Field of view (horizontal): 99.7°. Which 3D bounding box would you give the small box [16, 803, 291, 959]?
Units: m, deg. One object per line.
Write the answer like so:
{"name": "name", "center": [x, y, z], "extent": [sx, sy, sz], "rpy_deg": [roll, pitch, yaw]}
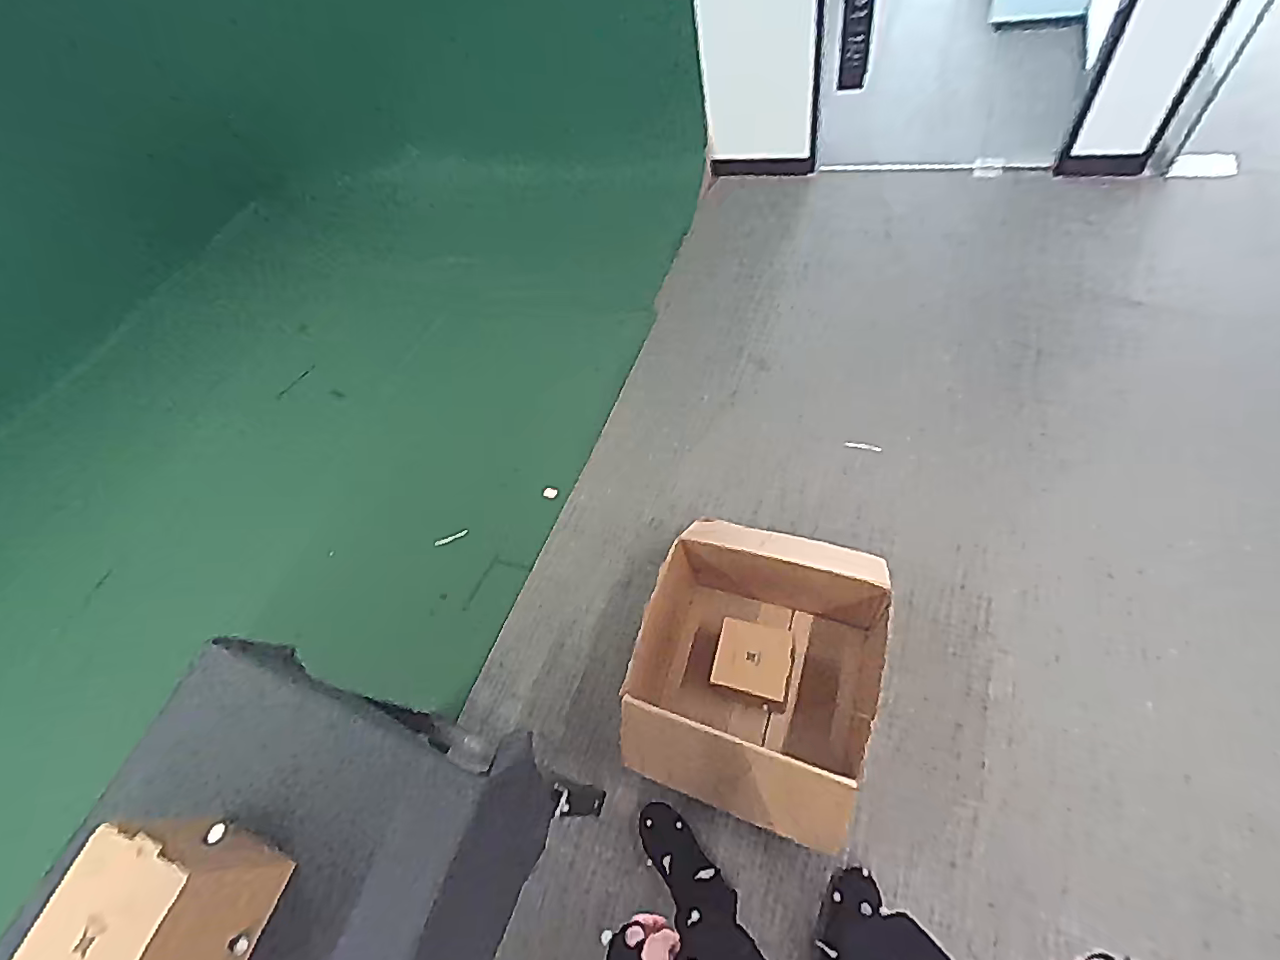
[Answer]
{"name": "small box", "center": [-0.597, 0.537, 0.694], "extent": [0.168, 0.176, 0.179], "rpy_deg": [10, 63, 17]}
